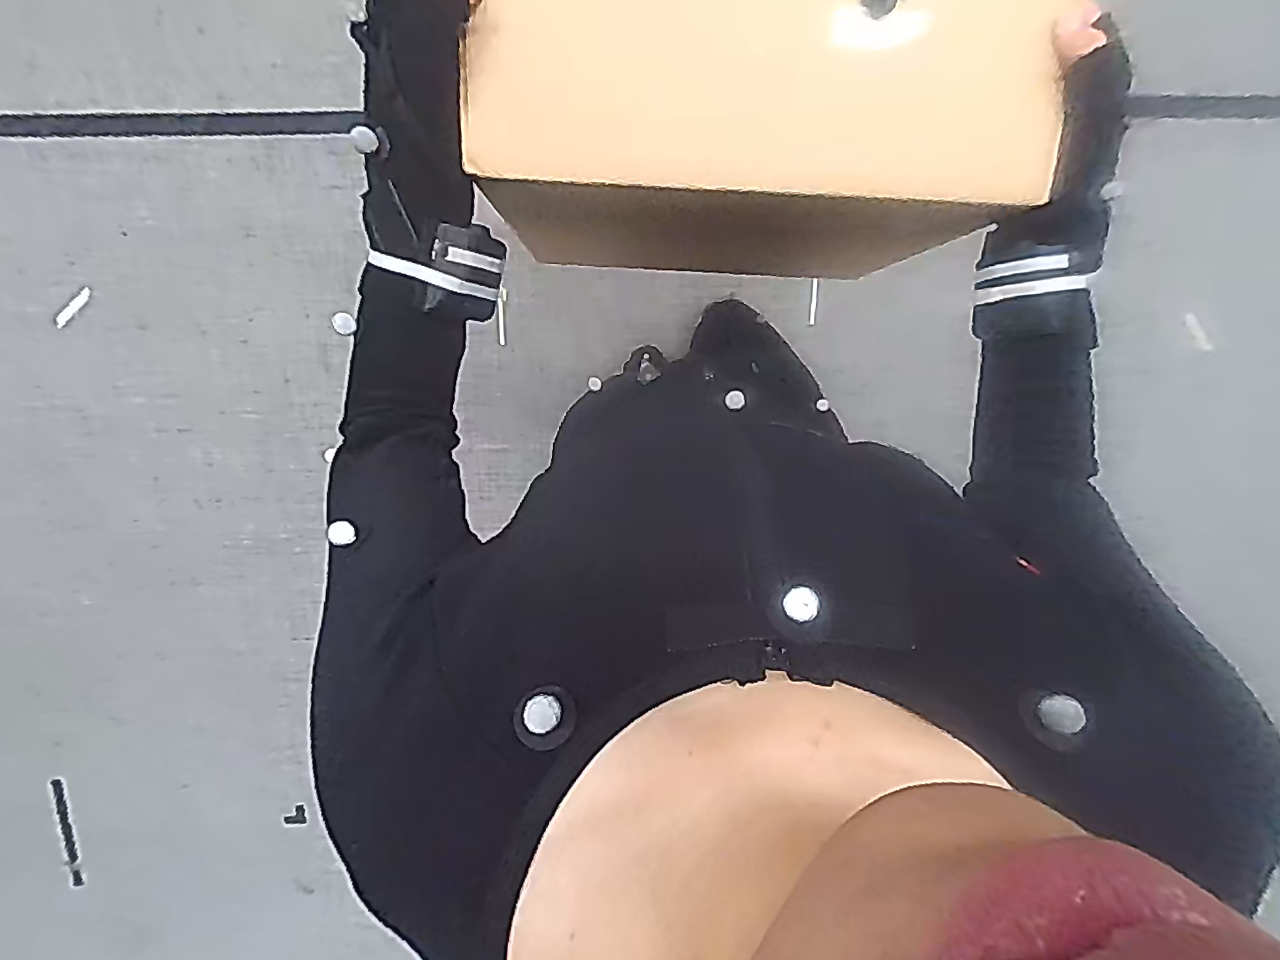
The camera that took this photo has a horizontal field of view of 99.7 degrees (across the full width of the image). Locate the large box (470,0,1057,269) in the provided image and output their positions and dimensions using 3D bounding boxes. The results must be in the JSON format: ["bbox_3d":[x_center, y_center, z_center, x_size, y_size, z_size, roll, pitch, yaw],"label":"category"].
[{"bbox_3d":[0.079,-0.391,0.500,0.408,0.320,0.320,2,101,-3],"label":"large box"}]
